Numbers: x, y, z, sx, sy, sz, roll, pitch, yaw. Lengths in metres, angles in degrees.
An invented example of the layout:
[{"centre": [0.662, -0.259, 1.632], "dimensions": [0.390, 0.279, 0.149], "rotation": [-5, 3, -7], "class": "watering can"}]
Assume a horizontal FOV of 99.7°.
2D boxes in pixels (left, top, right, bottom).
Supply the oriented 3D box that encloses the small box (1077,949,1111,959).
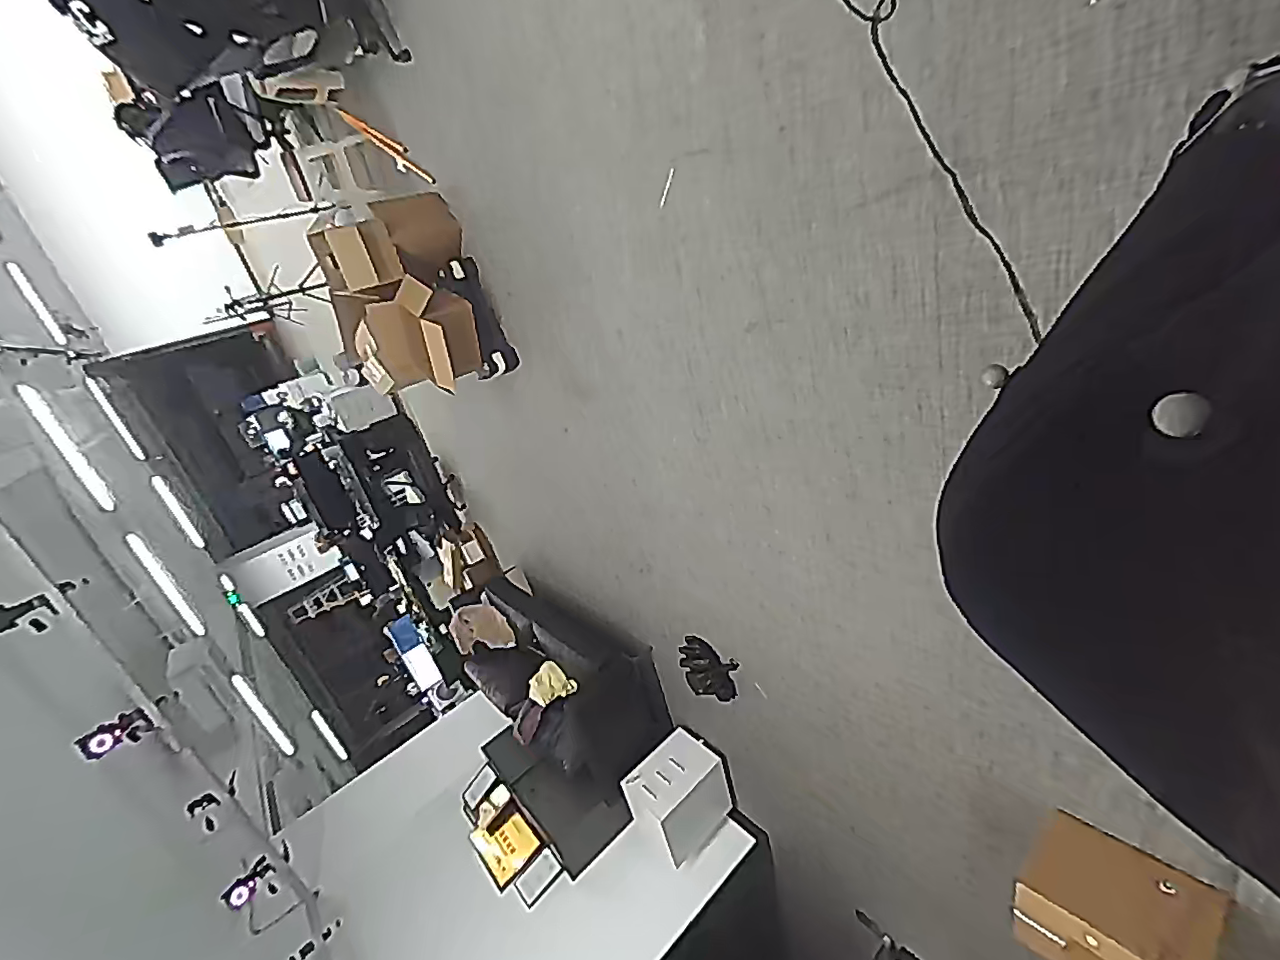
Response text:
[{"centre": [1.270, 1.434, 1.467], "dimensions": [0.179, 0.176, 0.168], "rotation": [22, 129, 46], "class": "small box"}]
